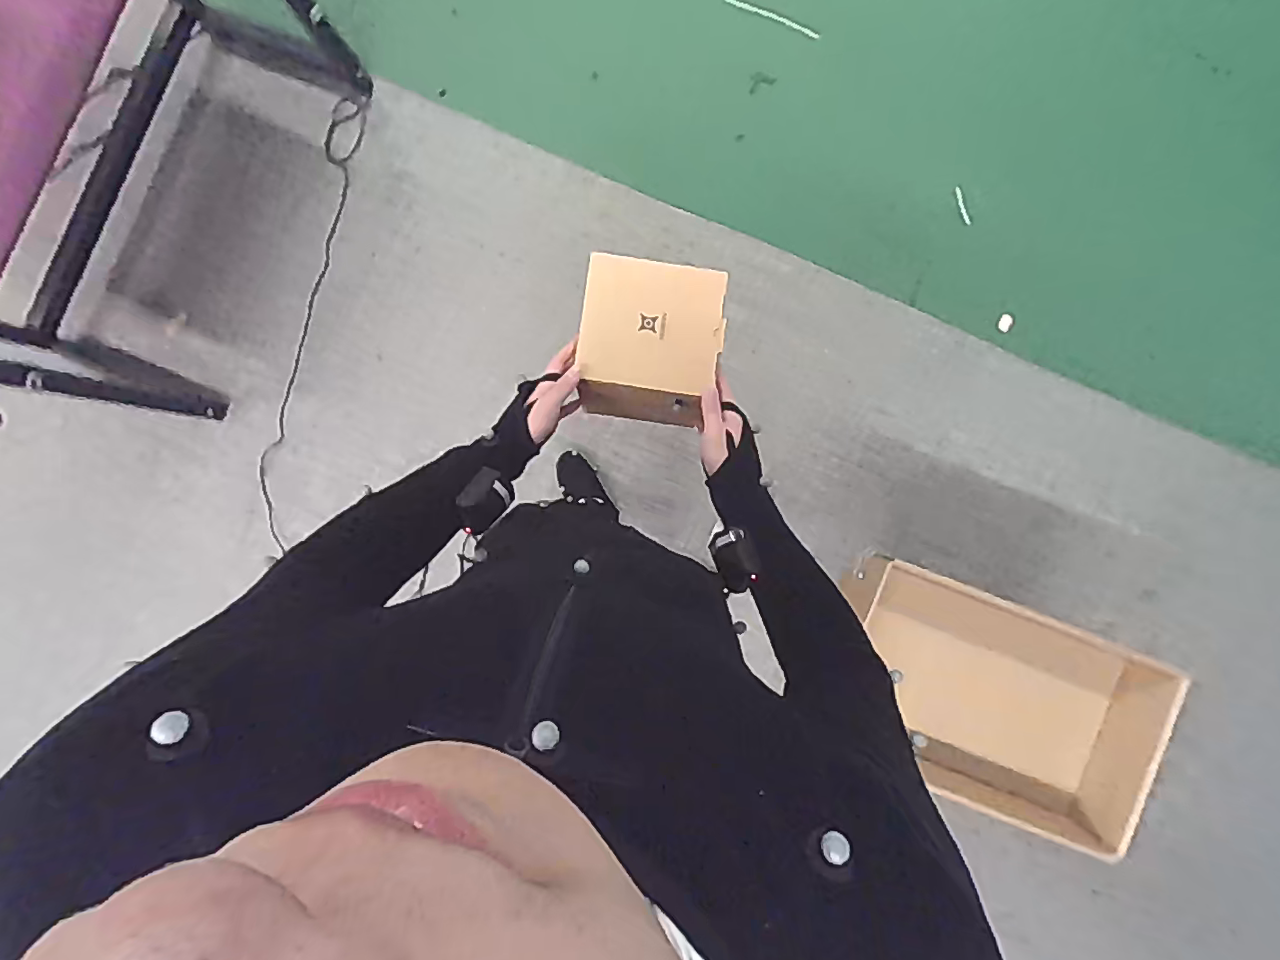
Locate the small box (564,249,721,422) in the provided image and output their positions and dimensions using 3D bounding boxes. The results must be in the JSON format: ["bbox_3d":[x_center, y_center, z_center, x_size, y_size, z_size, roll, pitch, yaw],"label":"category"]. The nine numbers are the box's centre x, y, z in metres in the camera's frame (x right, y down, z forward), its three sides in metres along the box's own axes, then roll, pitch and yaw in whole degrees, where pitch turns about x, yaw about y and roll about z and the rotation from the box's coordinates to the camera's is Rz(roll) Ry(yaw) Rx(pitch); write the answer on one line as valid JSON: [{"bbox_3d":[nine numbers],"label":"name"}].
[{"bbox_3d":[0.000,-0.183,0.734,0.179,0.176,0.168,7,82,-3],"label":"small box"}]
